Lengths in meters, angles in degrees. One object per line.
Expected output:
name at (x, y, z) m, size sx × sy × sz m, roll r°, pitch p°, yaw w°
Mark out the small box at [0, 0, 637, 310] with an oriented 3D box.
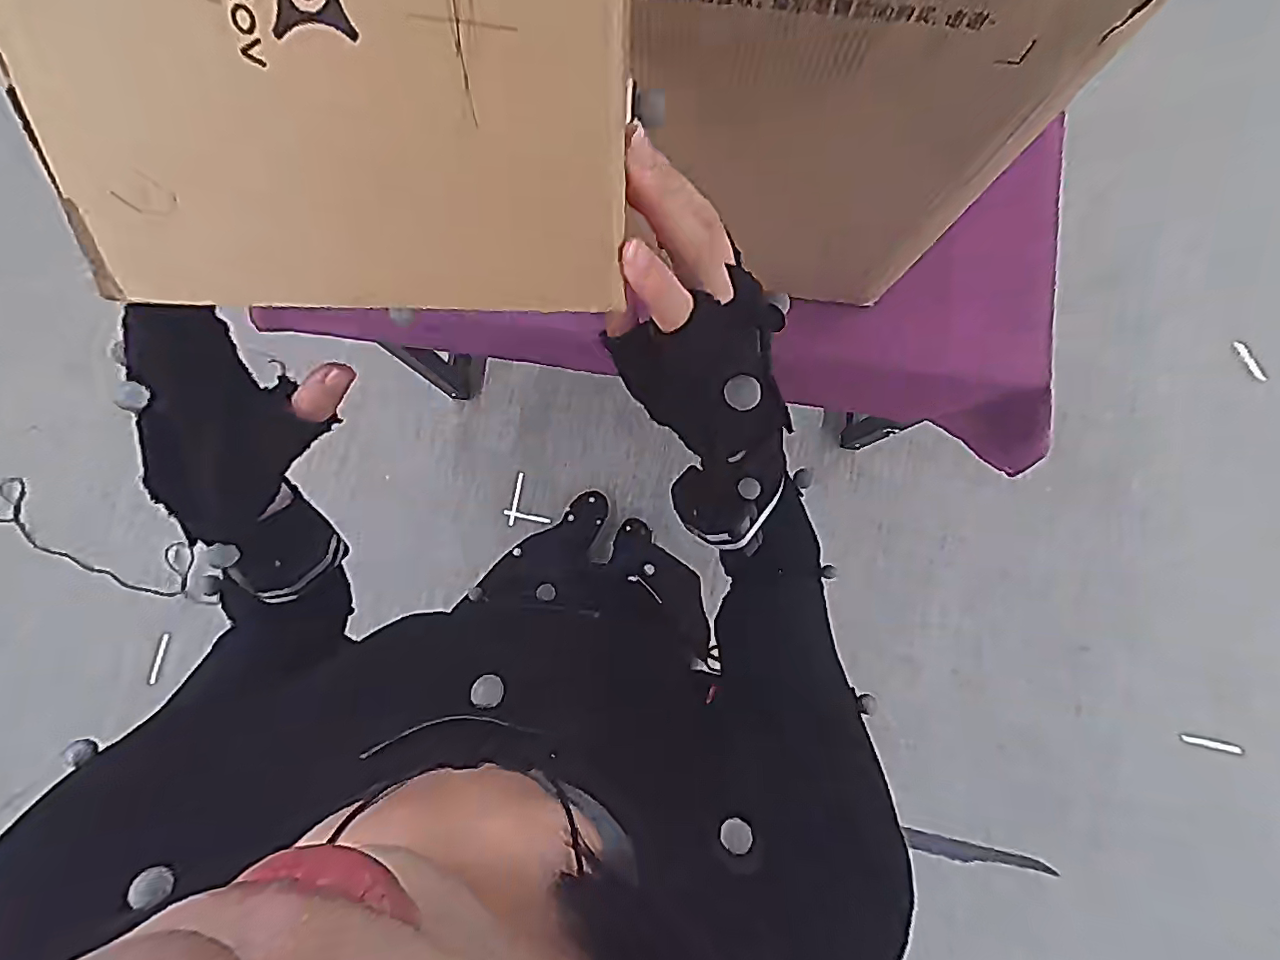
small box at (-0.090, -0.170, 0.213) m, size 0.179 × 0.176 × 0.168 m, roll 0°, pitch 121°, yaw 0°
